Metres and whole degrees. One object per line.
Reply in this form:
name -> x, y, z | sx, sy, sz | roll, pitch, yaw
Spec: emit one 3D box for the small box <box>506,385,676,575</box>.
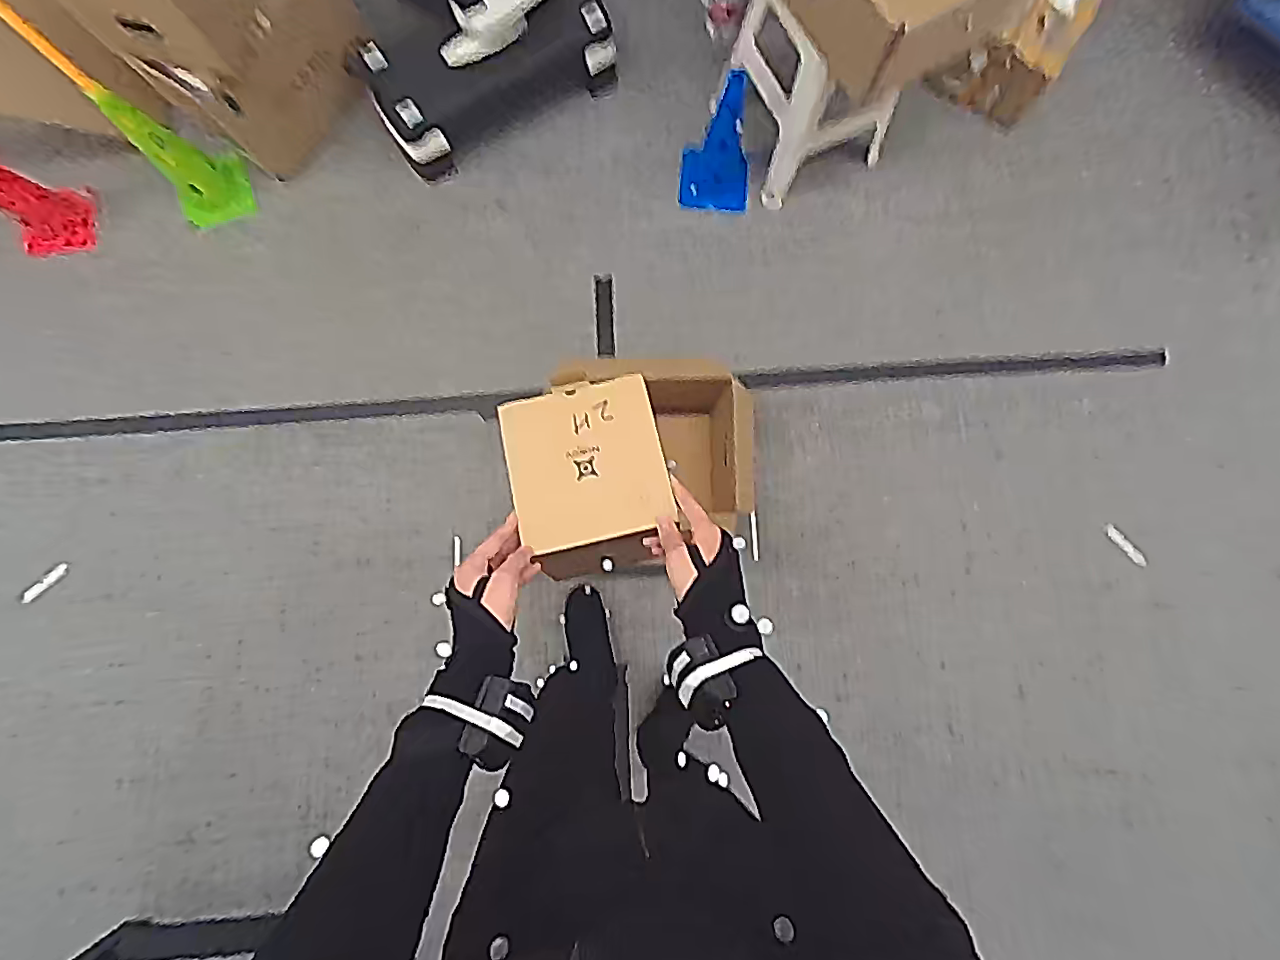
small box -> -0.052, 0.012, 0.664 | 0.168, 0.176, 0.179 | -13, 70, -2
